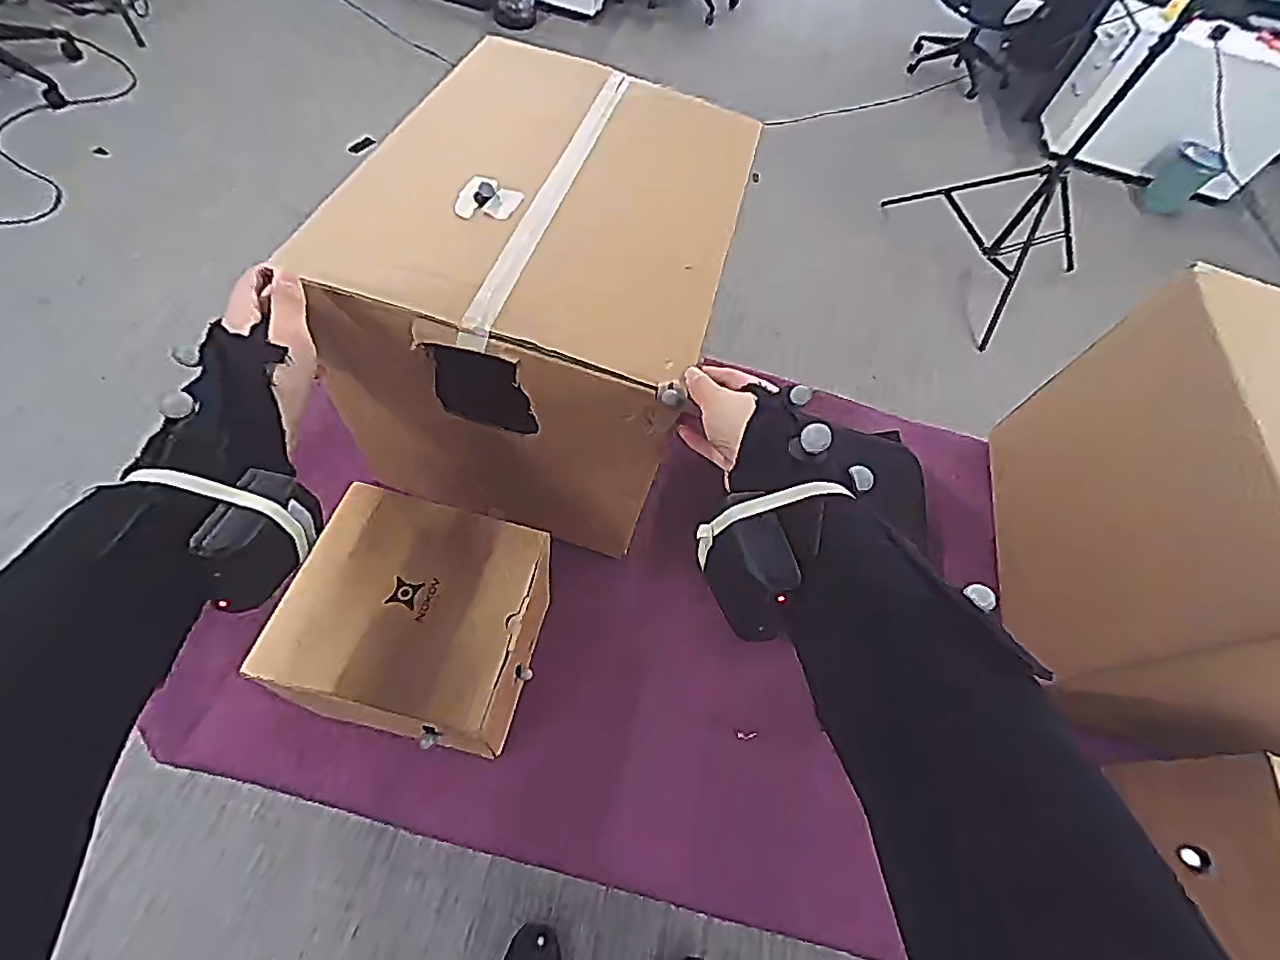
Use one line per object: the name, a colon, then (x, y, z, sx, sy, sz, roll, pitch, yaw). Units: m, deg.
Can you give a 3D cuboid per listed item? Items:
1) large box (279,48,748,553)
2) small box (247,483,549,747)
large box: (-0.095, -0.186, 0.616, 0.320, 0.320, 0.408, 16, 60, -1)
small box: (-0.192, 0.131, 0.491, 0.179, 0.176, 0.168, 15, 57, -2)
